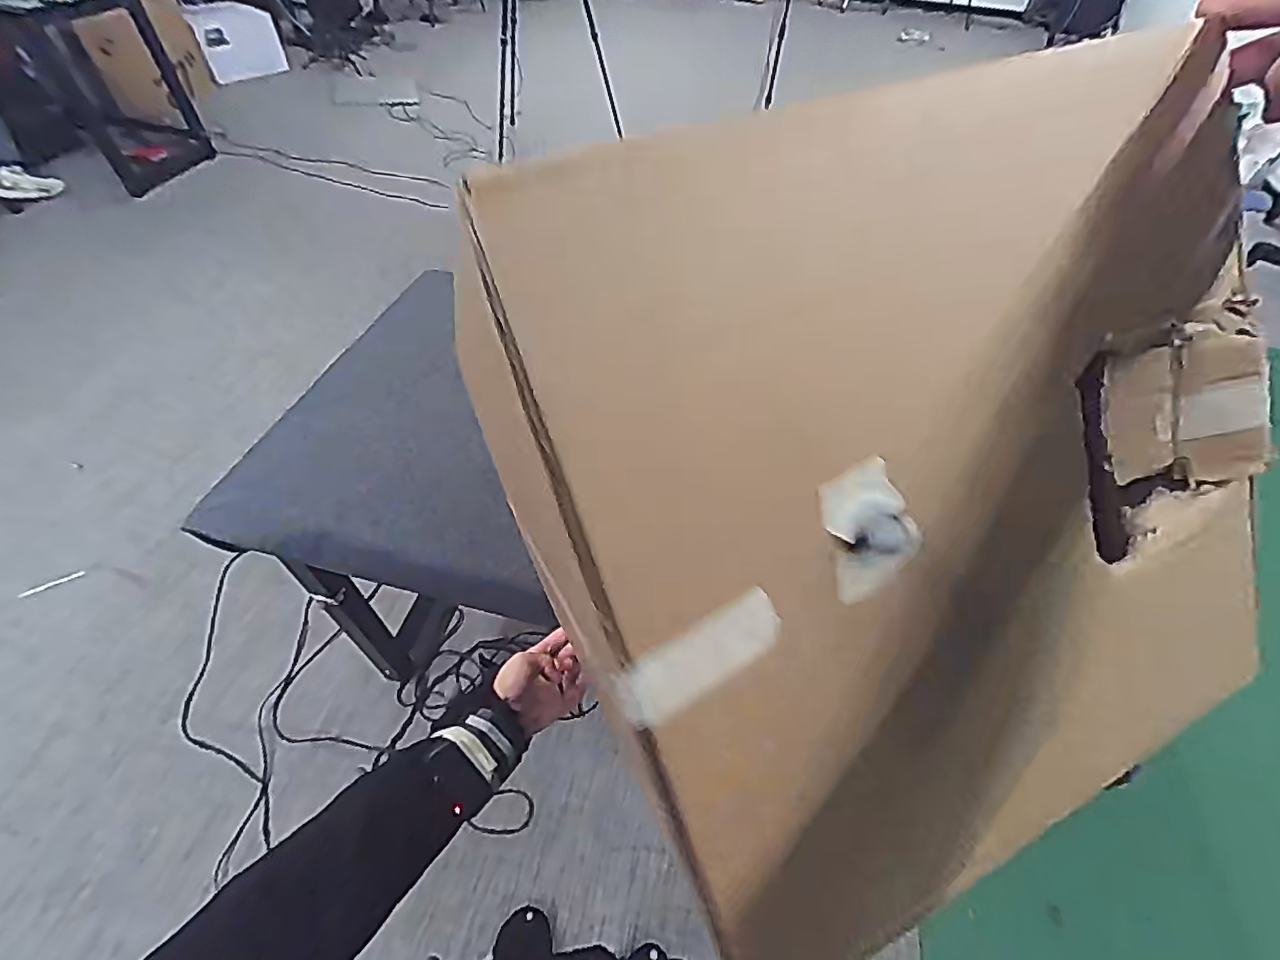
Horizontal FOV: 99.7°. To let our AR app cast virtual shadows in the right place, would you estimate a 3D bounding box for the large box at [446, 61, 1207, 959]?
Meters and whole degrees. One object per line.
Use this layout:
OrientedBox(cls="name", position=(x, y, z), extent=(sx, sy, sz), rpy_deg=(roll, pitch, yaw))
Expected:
OrientedBox(cls="large box", position=(0.070, -0.010, 0.402), extent=(0.320, 0.320, 0.408), rpy_deg=(-23, 15, -17))
